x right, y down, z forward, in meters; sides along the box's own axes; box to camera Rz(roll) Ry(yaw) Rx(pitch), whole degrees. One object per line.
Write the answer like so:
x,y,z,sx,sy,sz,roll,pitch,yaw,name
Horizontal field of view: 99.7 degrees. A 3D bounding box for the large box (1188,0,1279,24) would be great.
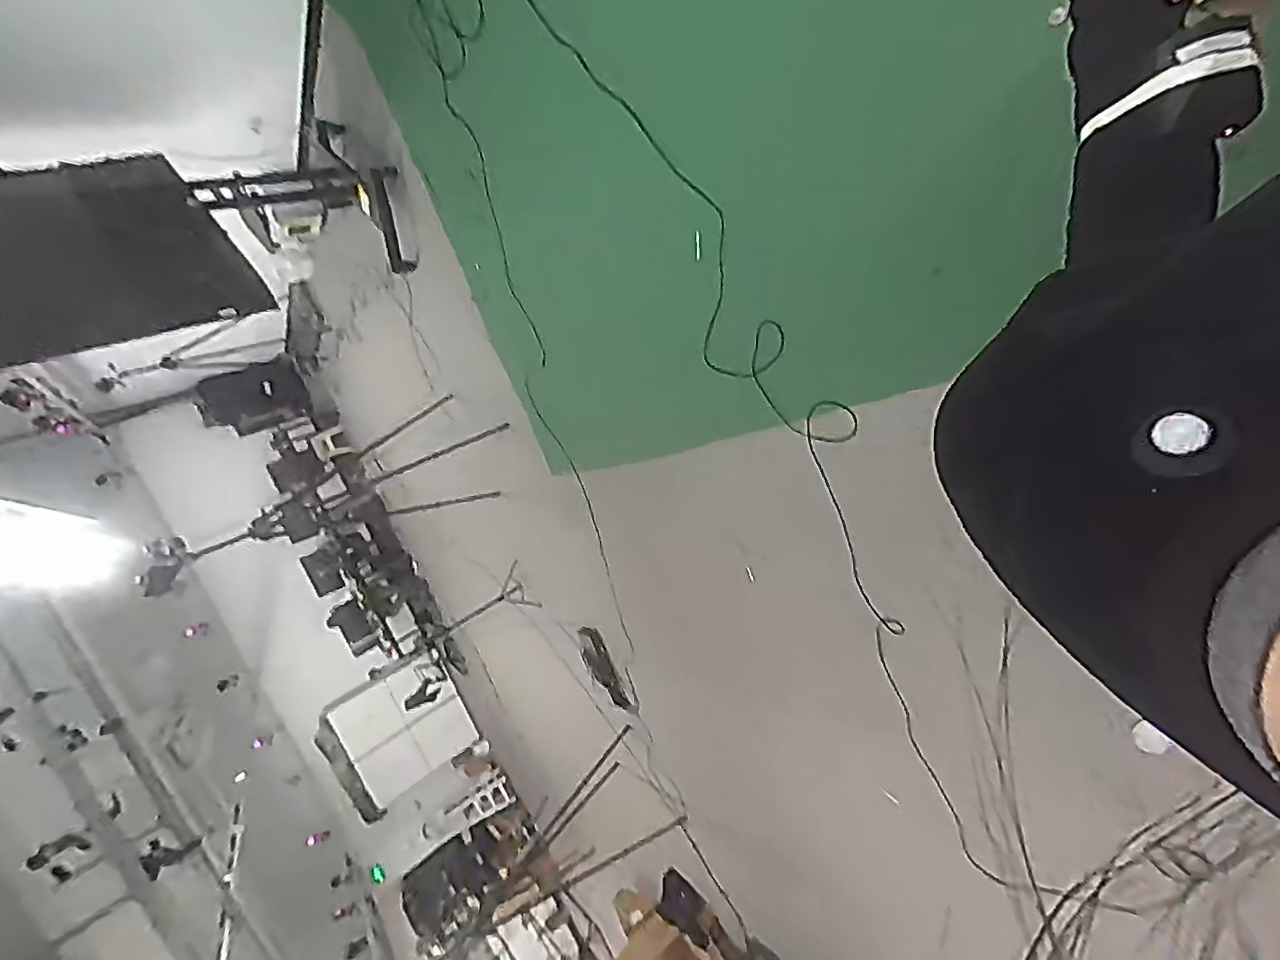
0.555,-0.518,0.256,0.408,0.320,0.320,1,115,51,large box
